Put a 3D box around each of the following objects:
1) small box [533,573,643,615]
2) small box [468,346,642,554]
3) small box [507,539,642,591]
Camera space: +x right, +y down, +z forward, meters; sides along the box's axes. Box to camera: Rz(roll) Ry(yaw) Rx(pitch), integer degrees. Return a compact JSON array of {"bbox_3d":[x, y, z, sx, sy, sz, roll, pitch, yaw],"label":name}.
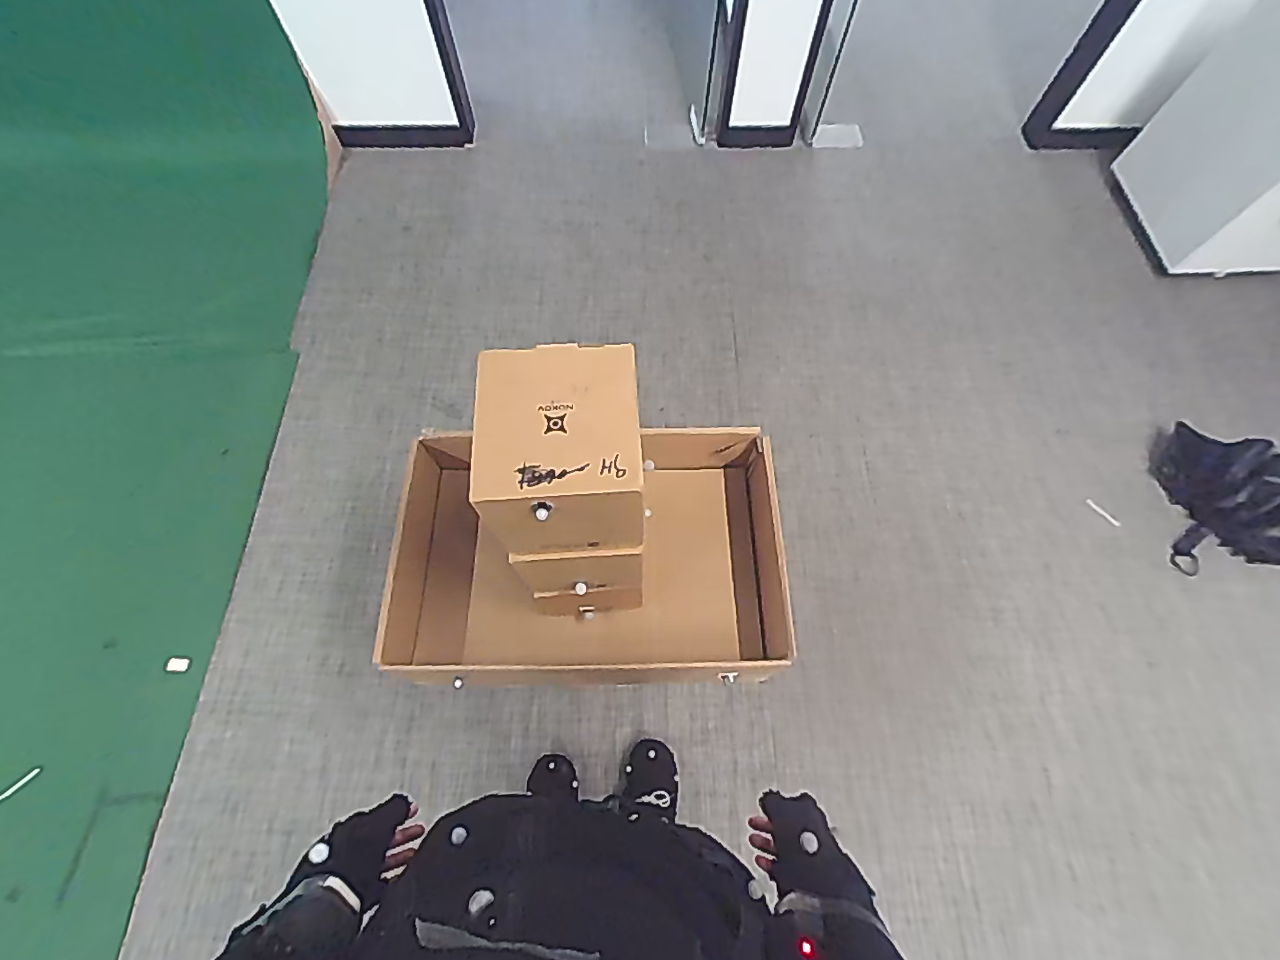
[{"bbox_3d":[-0.086,0.120,0.910,0.168,0.176,0.179,-5,66,-2],"label":"small box"},{"bbox_3d":[-0.084,-0.028,0.617,0.168,0.176,0.179,-4,64,0],"label":"small box"},{"bbox_3d":[-0.084,0.049,0.762,0.168,0.176,0.179,-3,66,-1],"label":"small box"}]
